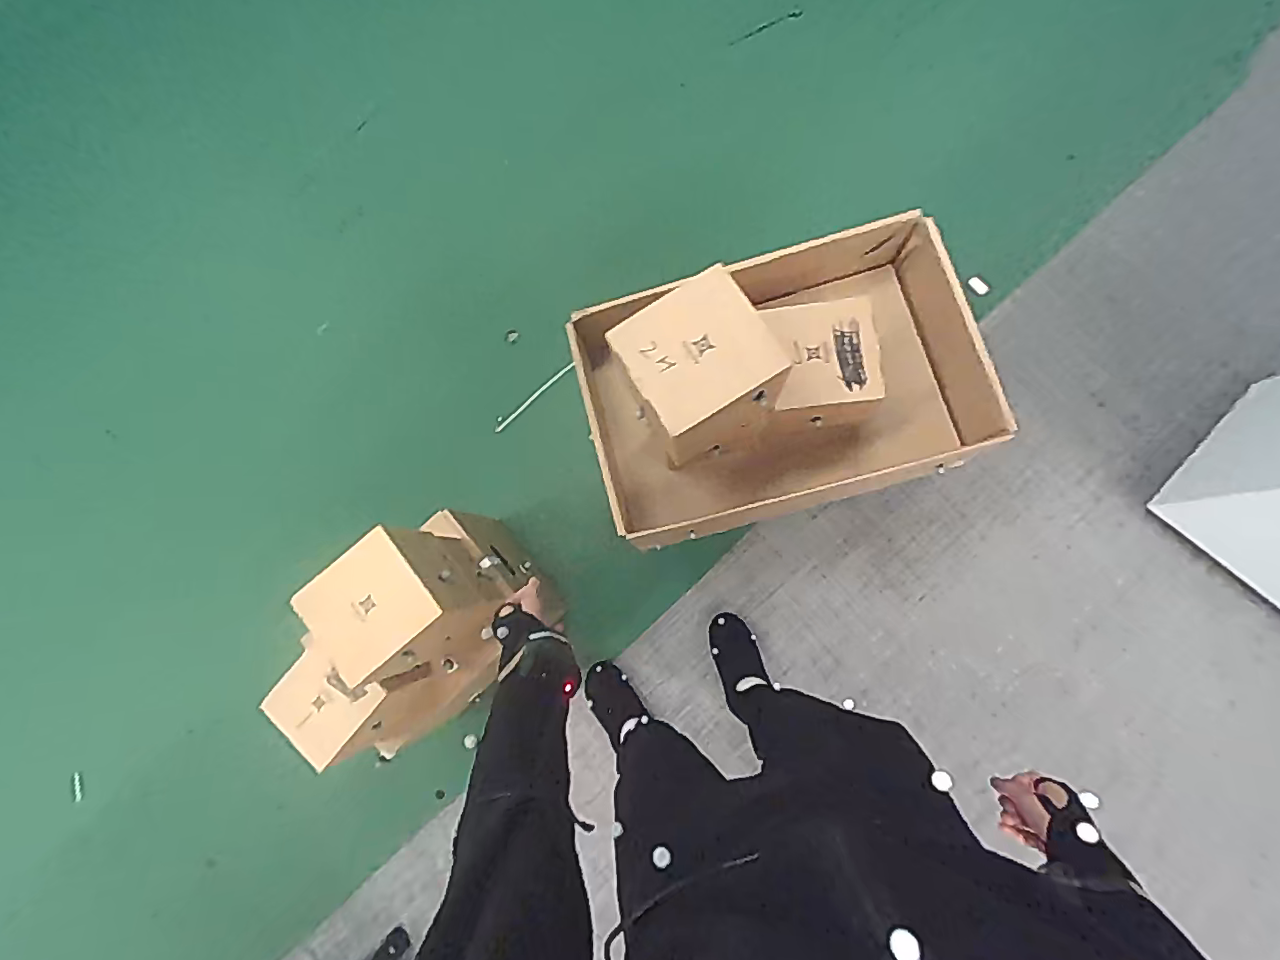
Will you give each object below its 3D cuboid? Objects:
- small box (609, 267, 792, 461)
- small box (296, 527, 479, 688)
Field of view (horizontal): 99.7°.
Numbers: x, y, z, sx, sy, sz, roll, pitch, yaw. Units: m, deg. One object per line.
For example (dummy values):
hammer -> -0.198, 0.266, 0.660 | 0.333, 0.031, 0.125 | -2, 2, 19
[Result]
small box -> 0.080, -0.148, 0.748 | 0.179, 0.176, 0.168 | -31, 77, 0
small box -> -0.382, 0.192, 0.859 | 0.179, 0.176, 0.168 | -40, 80, 0
